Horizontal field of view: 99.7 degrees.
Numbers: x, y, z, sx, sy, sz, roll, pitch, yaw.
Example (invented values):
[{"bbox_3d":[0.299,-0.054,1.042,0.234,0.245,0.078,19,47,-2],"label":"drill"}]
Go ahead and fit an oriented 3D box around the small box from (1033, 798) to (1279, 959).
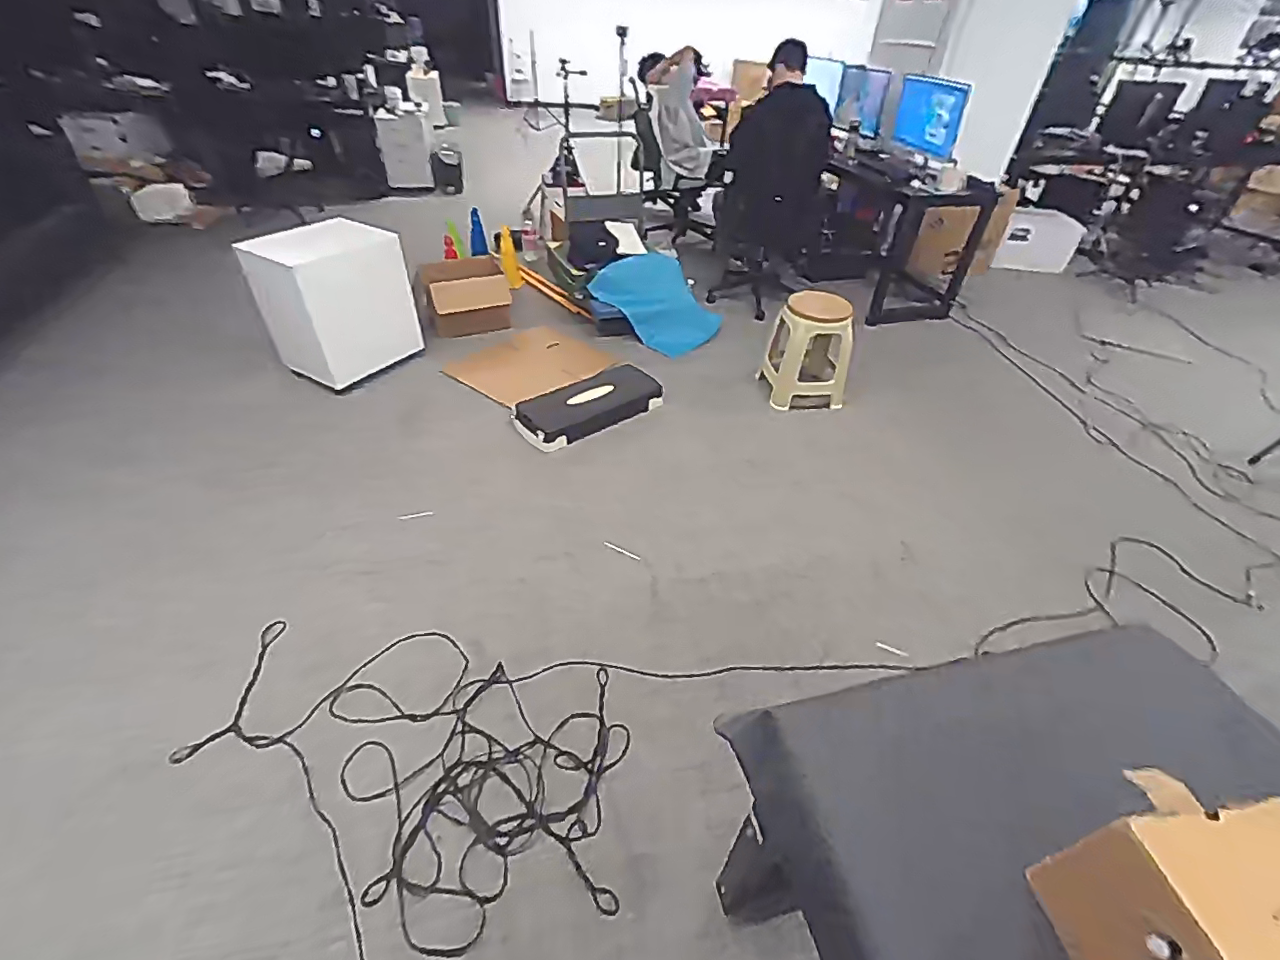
[{"bbox_3d":[0.498,0.403,0.459,0.168,0.176,0.179,-2,40,-7],"label":"small box"}]
